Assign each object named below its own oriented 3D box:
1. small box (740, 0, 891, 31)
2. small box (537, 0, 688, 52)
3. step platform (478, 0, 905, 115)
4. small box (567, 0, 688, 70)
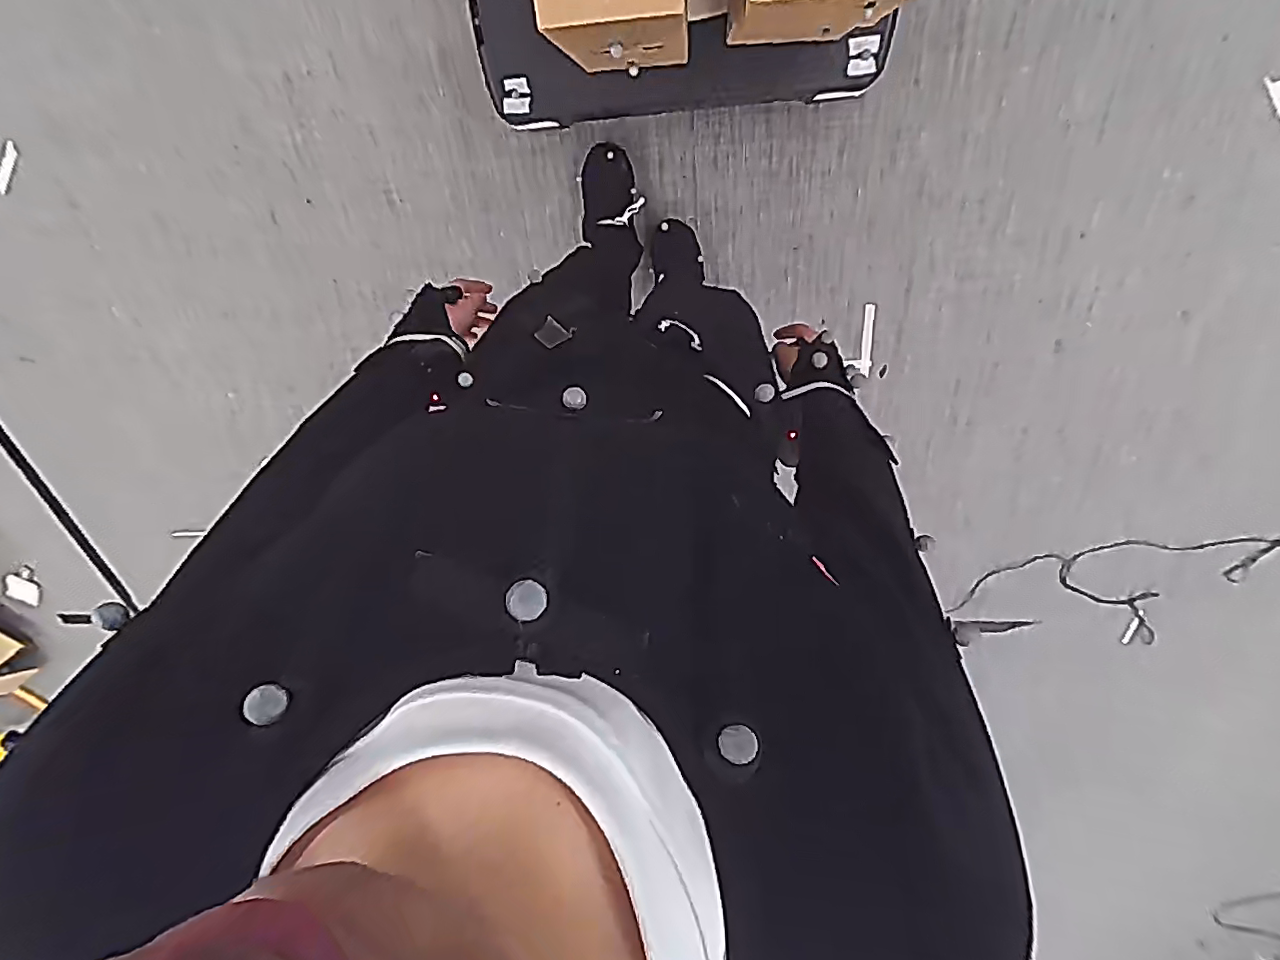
[{"bbox_3d":[0.207,-0.619,0.597,0.179,0.176,0.168,0,121,4],"label":"small box"},{"bbox_3d":[-0.030,-0.617,0.616,0.168,0.176,0.179,-1,121,6],"label":"small box"},{"bbox_3d":[0.079,-0.806,0.888,0.684,0.204,0.286,-2,120,7],"label":"step platform"},{"bbox_3d":[-0.015,-0.699,0.758,0.168,0.176,0.179,0,121,5],"label":"small box"}]
